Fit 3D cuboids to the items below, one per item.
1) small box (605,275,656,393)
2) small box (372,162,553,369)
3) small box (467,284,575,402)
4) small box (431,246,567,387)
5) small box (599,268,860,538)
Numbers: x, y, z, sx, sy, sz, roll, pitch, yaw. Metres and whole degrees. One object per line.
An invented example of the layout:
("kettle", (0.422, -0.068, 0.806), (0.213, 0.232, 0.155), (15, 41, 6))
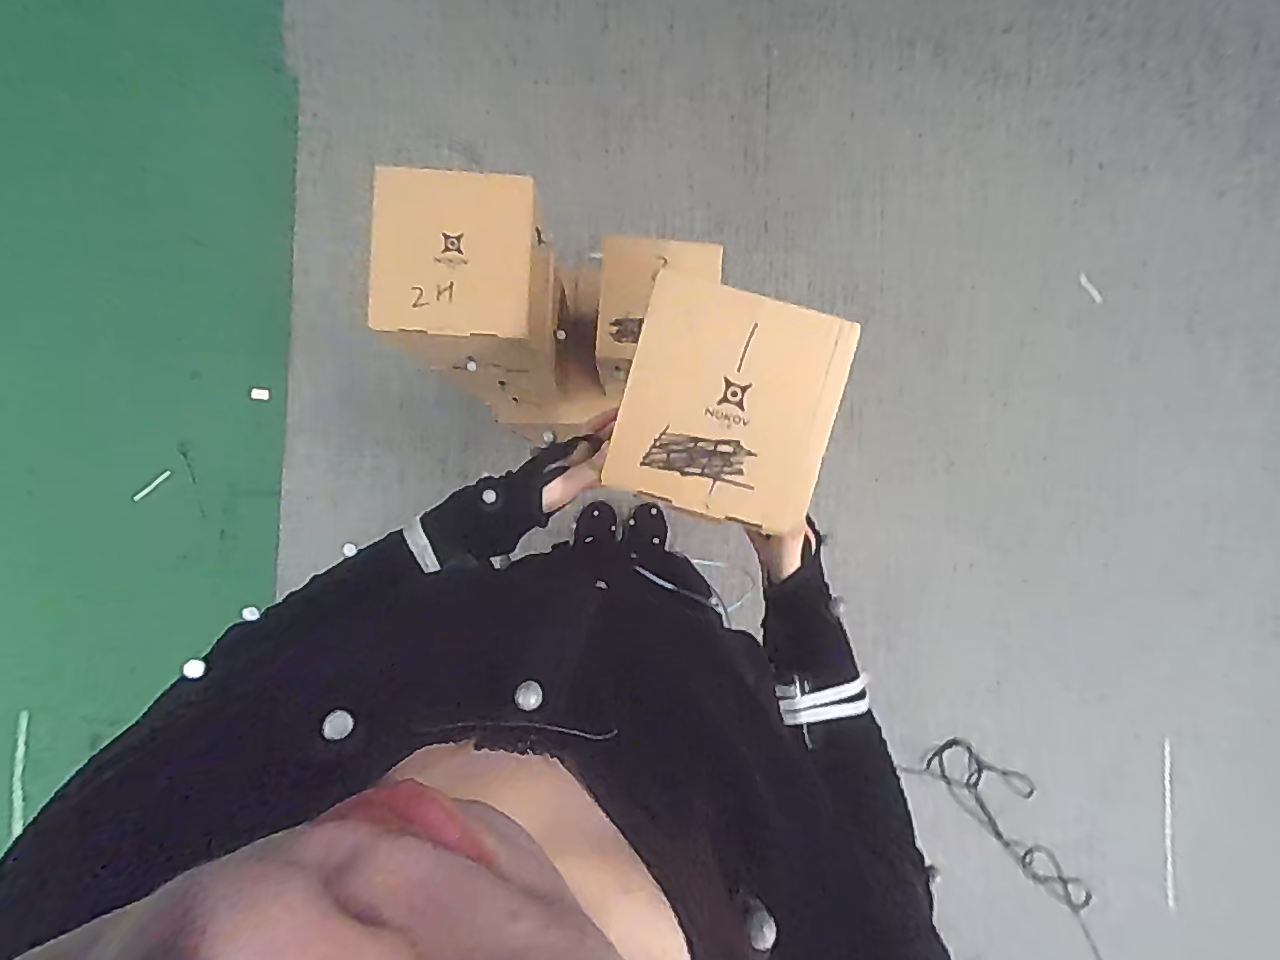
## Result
("small box", (0.029, -0.249, 0.985), (0.168, 0.176, 0.179), (5, 88, -1))
("small box", (-0.198, -0.243, 0.649), (0.168, 0.176, 0.179), (3, 90, -2))
("small box", (-0.208, -0.244, 0.979), (0.168, 0.176, 0.179), (2, 90, -3))
("small box", (-0.201, -0.239, 0.815), (0.168, 0.176, 0.179), (3, 91, -3))
("small box", (0.071, -0.063, 0.501), (0.168, 0.176, 0.179), (16, 93, 0))
